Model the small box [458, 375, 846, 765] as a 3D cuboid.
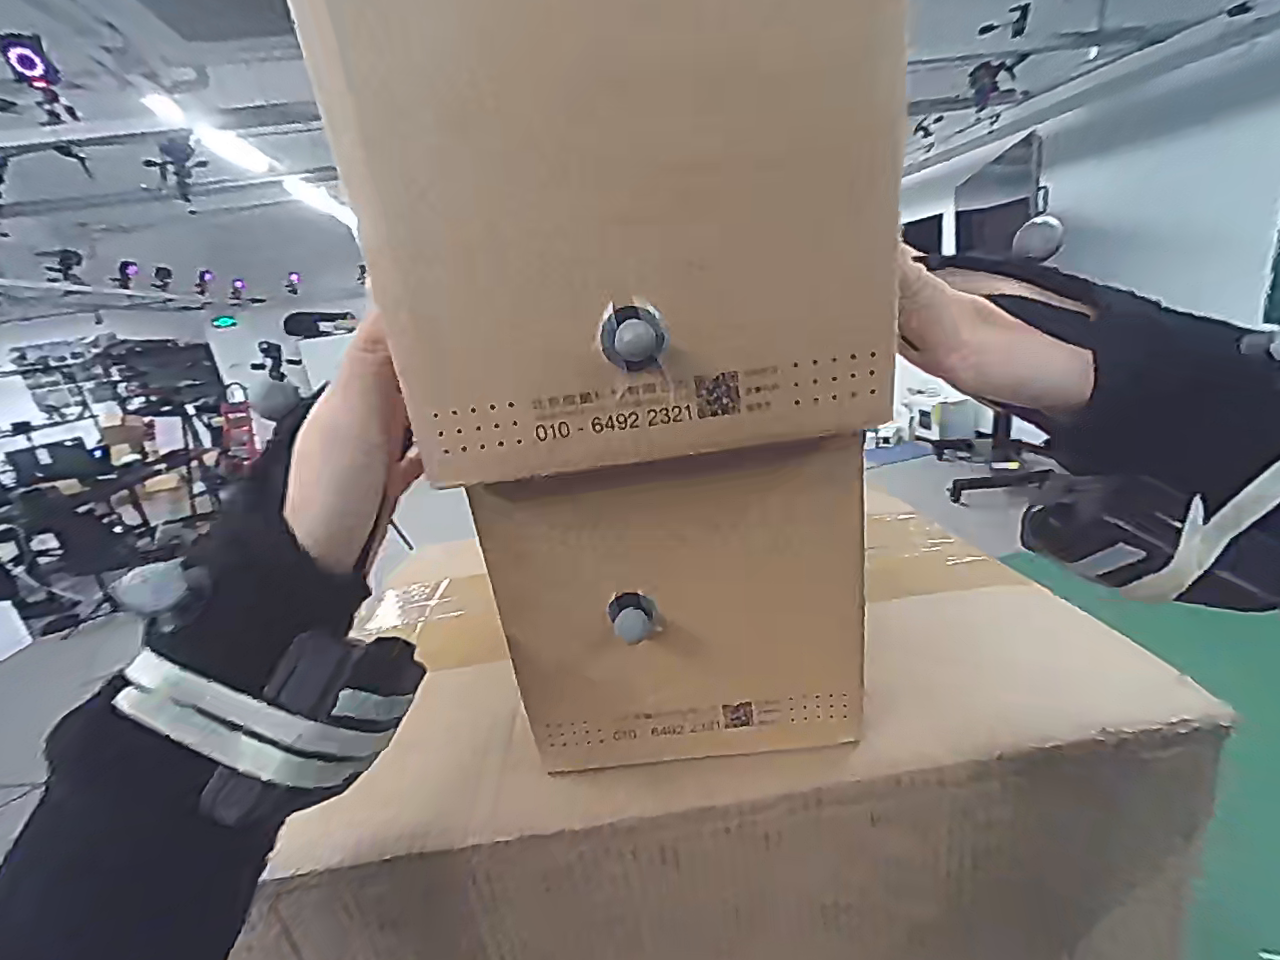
[{"bbox_3d":[0.016,0.045,0.327,0.168,0.176,0.179,-8,19,3],"label":"small box"}]
